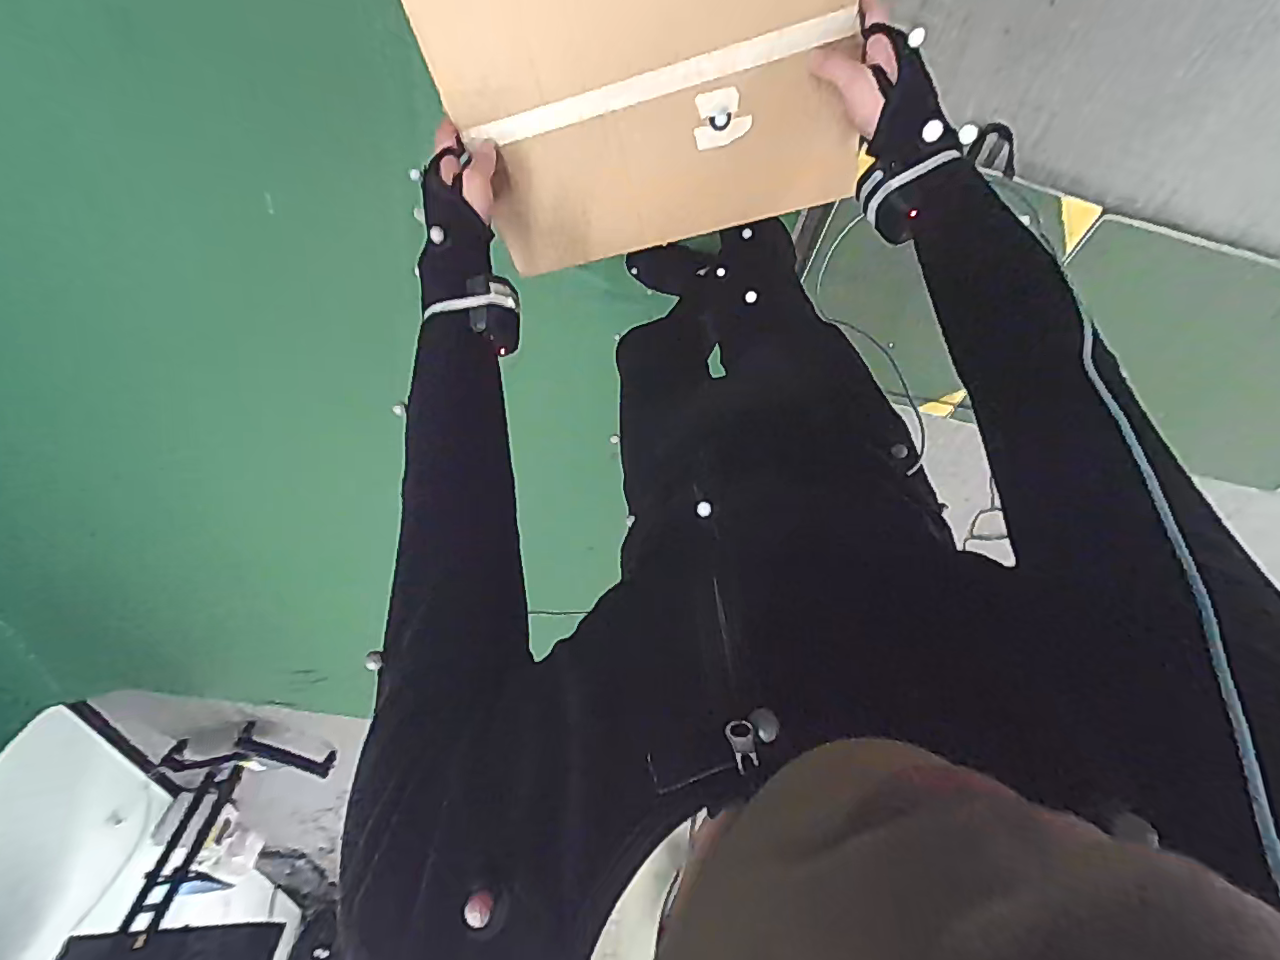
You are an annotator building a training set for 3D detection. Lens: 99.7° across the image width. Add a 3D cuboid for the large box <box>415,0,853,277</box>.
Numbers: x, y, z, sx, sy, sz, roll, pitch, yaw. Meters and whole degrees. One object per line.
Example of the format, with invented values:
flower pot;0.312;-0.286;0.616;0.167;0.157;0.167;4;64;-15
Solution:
large box;0.013;-0.500;0.659;0.408;0.320;0.320;-10;134;11
